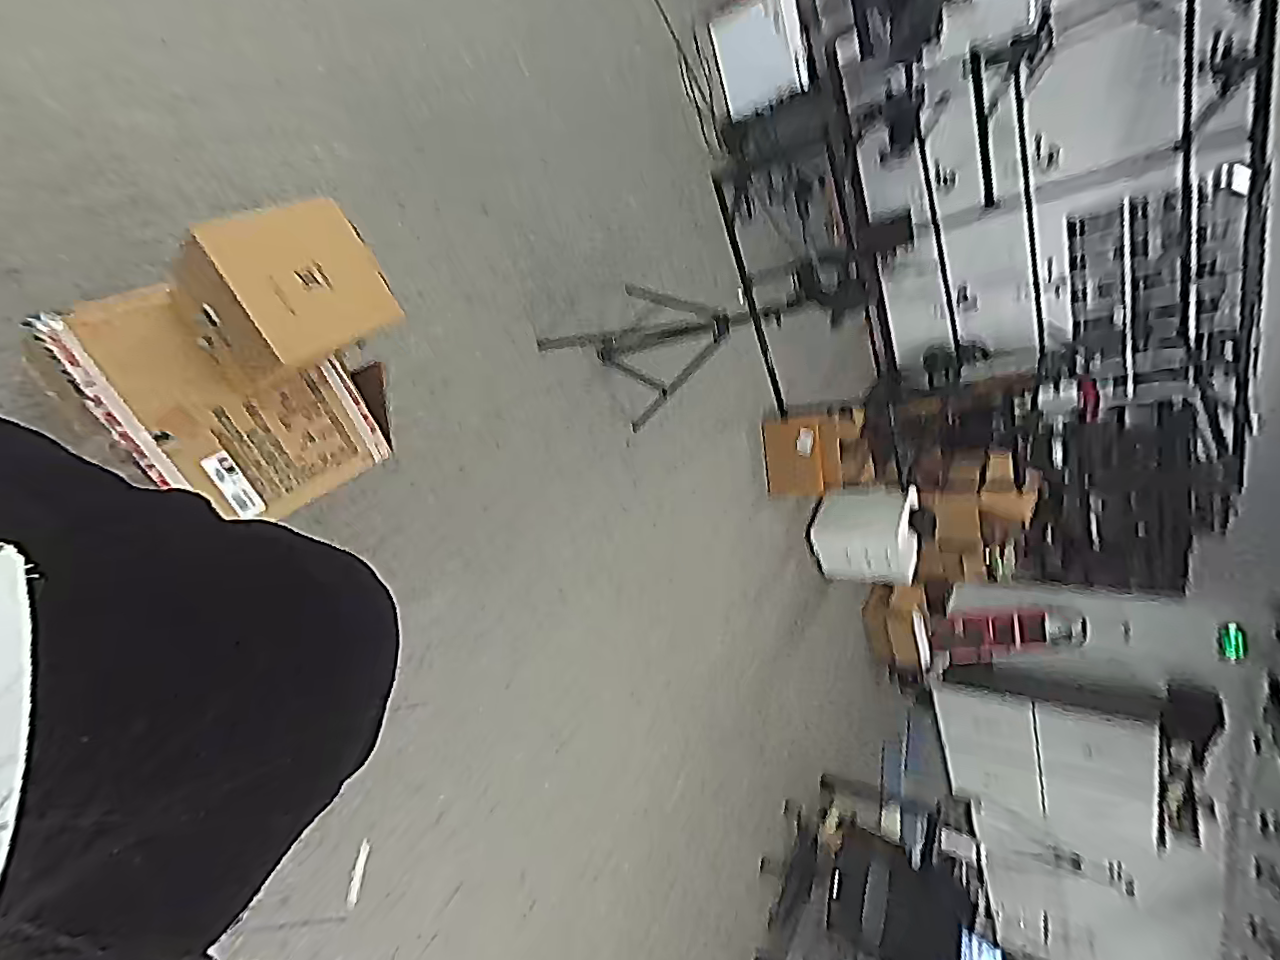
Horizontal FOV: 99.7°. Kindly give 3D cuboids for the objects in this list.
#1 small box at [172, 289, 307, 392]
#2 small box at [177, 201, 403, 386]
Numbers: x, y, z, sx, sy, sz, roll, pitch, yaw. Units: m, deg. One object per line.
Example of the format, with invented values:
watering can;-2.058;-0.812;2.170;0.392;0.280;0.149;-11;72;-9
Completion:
small box;-0.574;-0.252;0.842;0.179;0.176;0.168;-42;118;-40
small box;-0.464;-0.242;0.721;0.179;0.176;0.168;-43;117;-39
